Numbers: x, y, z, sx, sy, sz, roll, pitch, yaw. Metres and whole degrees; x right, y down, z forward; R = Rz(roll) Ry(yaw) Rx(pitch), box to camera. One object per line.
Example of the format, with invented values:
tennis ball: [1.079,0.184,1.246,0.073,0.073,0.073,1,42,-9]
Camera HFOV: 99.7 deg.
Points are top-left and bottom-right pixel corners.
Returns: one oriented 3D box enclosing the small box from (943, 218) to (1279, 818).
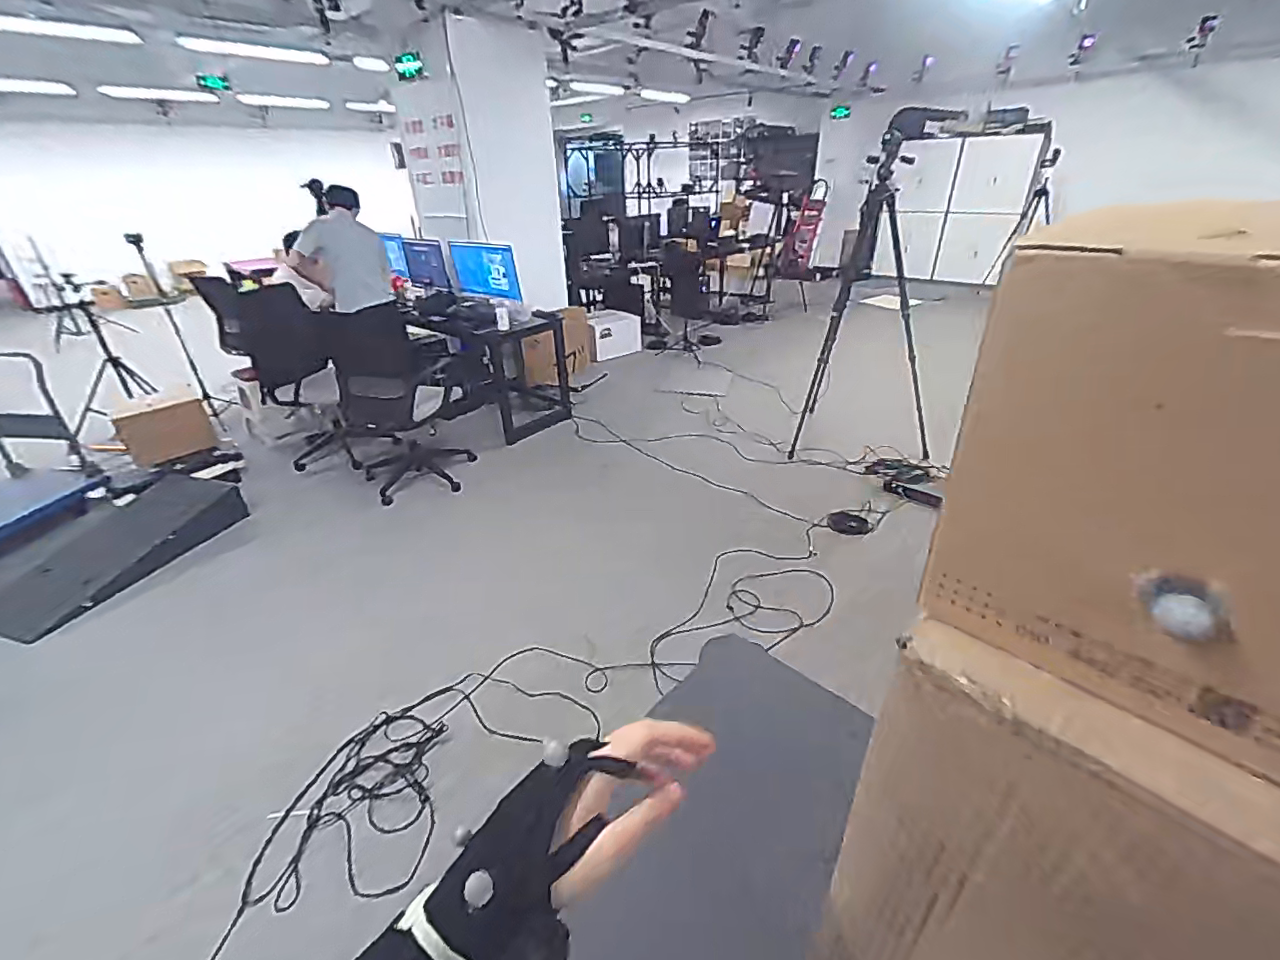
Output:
small box: [0.250,-0.001,0.216,0.179,0.176,0.168,-27,37,-34]
